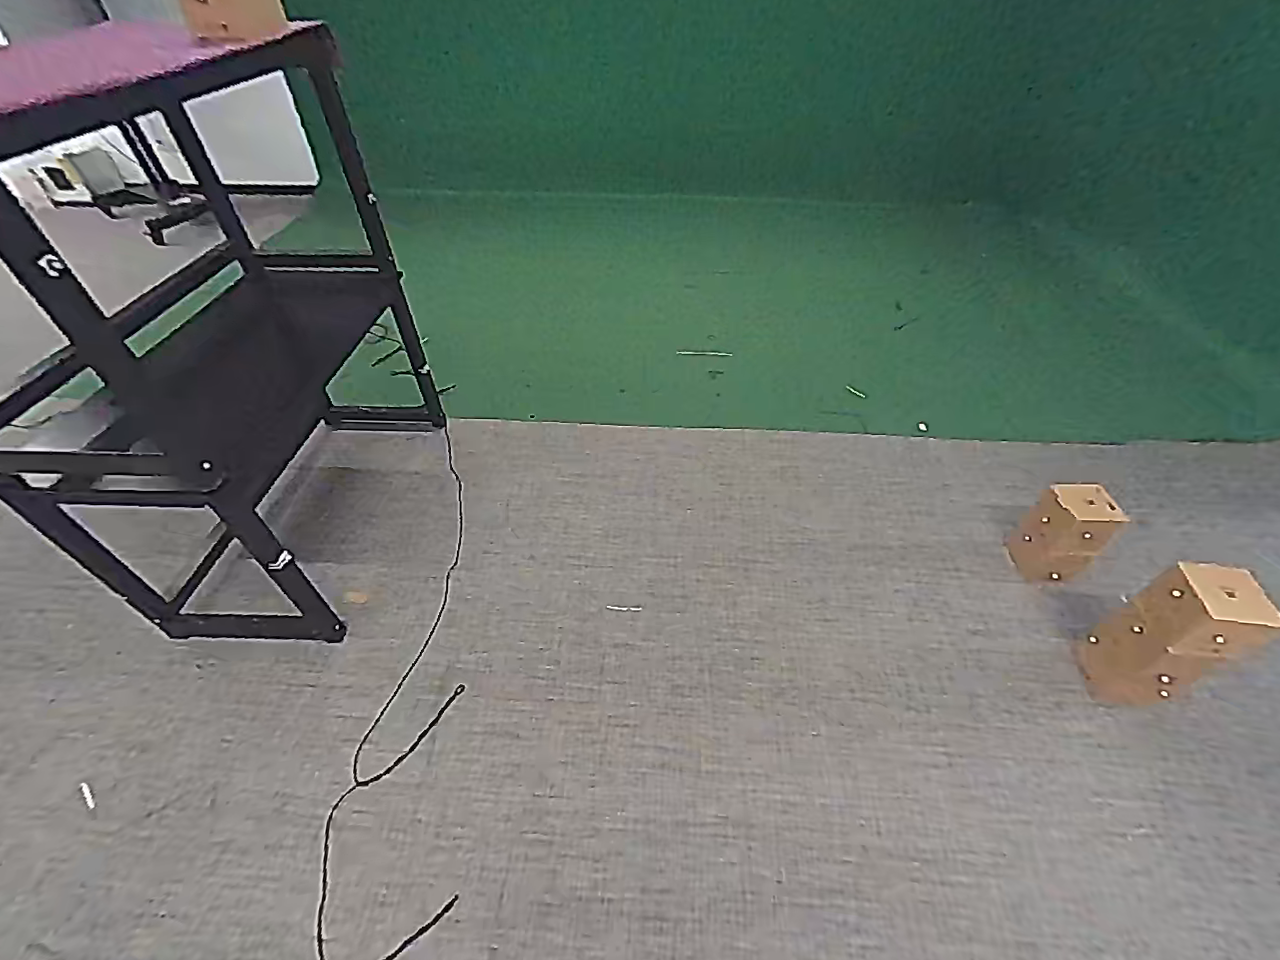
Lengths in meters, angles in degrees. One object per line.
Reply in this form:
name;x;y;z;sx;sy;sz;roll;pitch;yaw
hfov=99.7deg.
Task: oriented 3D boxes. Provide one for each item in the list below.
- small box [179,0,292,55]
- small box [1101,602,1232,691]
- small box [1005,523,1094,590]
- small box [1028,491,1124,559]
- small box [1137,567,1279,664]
small box;-1.048;-1.217;1.399;0.168;0.176;0.179;6;45;4
small box;1.463;0.469;1.521;0.168;0.176;0.179;3;45;3
small box;1.470;0.275;1.956;0.168;0.176;0.179;2;45;2
small box;1.472;0.156;1.844;0.179;0.176;0.168;-1;45;0
small box;1.465;0.355;1.406;0.168;0.176;0.179;6;44;7
